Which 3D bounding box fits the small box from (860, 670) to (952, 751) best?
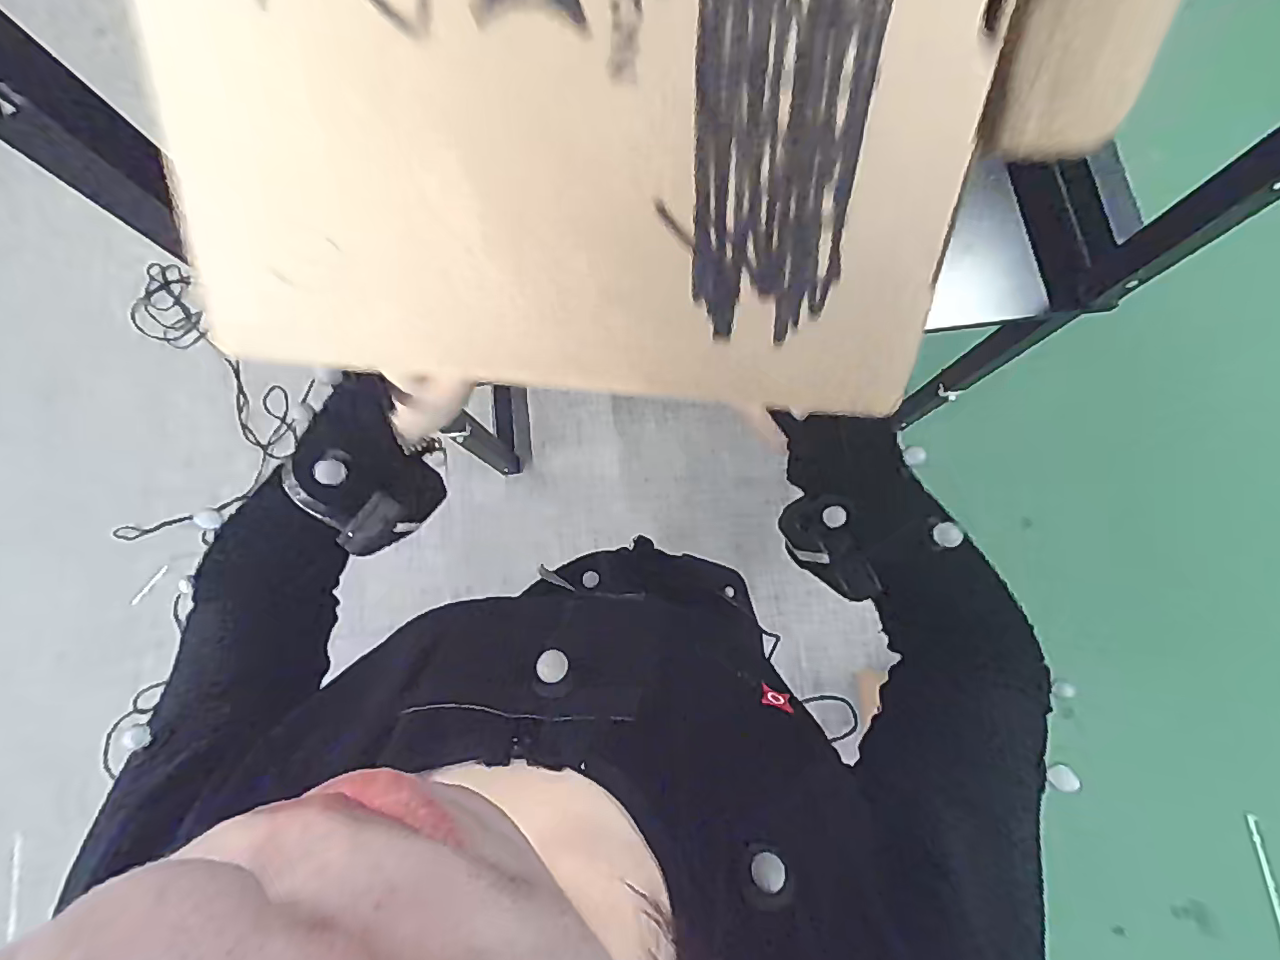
[{"bbox_3d":[0.659,0.573,1.336,0.168,0.176,0.179,-3,81,2],"label":"small box"}]
